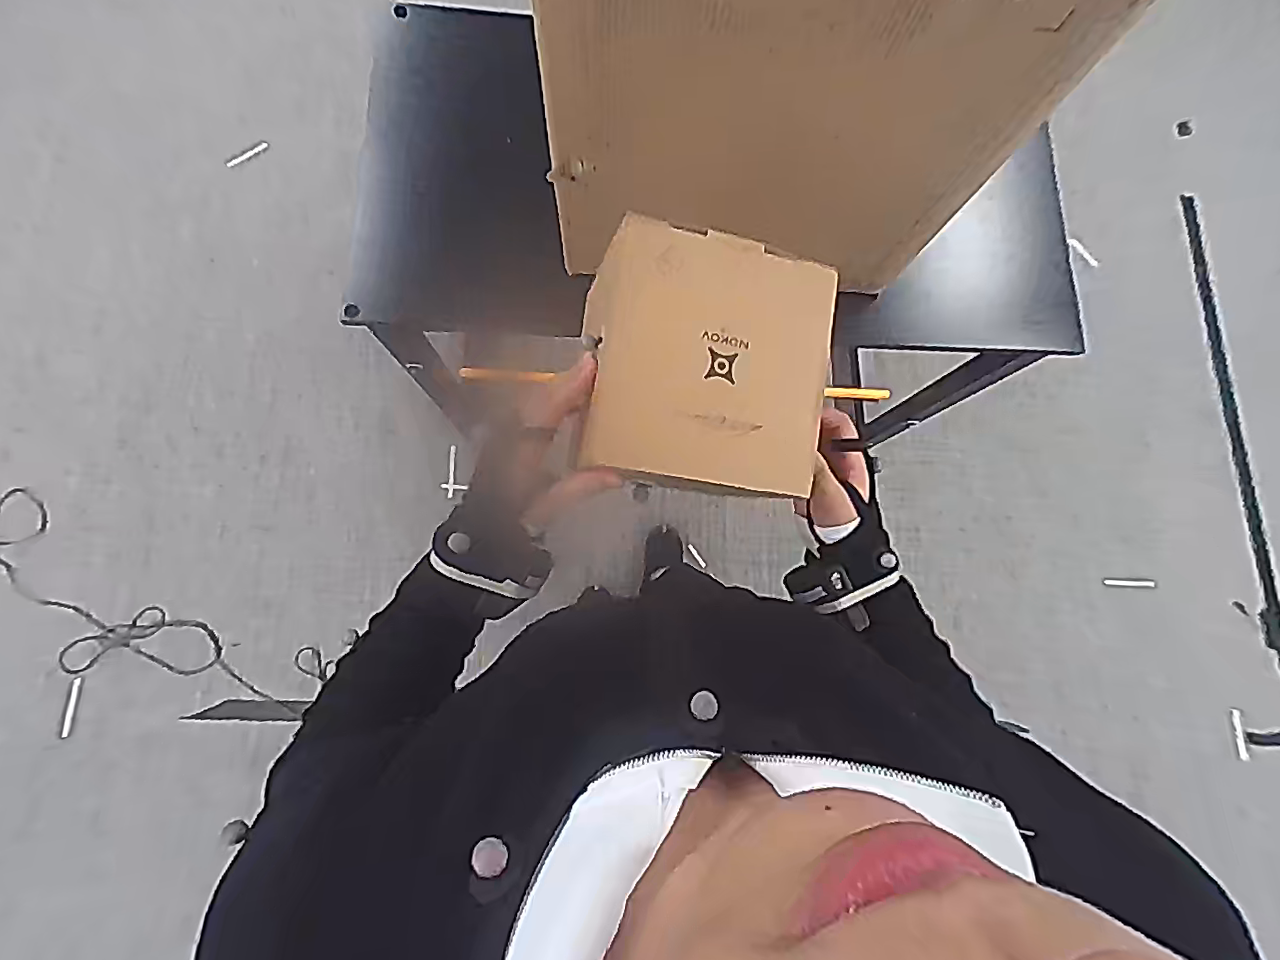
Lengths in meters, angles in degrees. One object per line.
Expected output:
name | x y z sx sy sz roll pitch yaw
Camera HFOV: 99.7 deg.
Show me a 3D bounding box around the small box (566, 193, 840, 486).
small box | 0.037 -0.092 0.448 0.168 0.176 0.179 8 89 -14
